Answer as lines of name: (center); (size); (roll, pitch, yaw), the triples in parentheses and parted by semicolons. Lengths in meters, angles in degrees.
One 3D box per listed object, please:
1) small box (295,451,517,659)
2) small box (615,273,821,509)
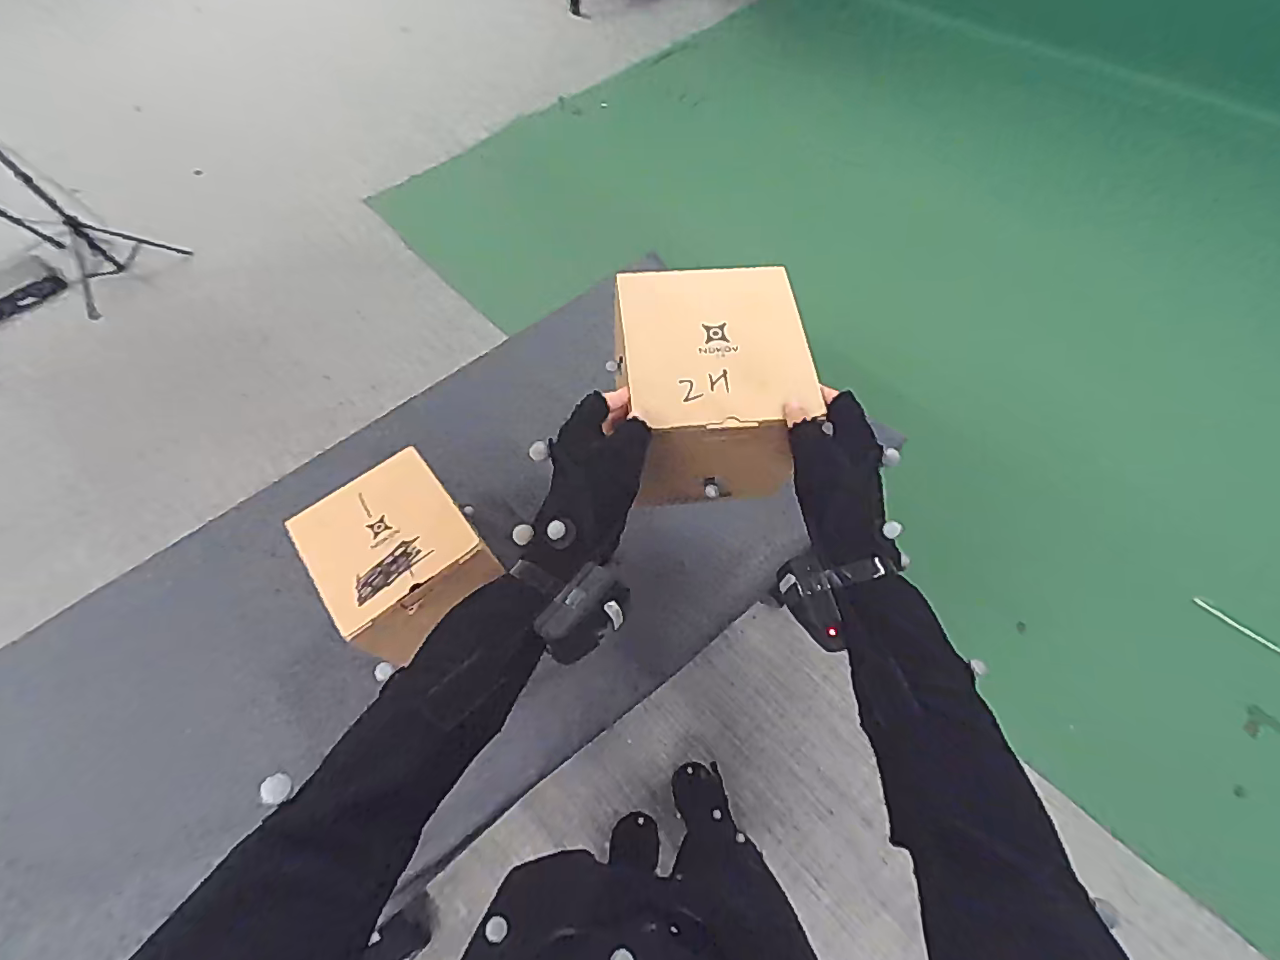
small box: (-0.279, 0.103, 0.680); (0.168, 0.176, 0.179); (-35, 63, -16)
small box: (0.062, -0.085, 0.559); (0.168, 0.176, 0.179); (-5, 65, -4)
